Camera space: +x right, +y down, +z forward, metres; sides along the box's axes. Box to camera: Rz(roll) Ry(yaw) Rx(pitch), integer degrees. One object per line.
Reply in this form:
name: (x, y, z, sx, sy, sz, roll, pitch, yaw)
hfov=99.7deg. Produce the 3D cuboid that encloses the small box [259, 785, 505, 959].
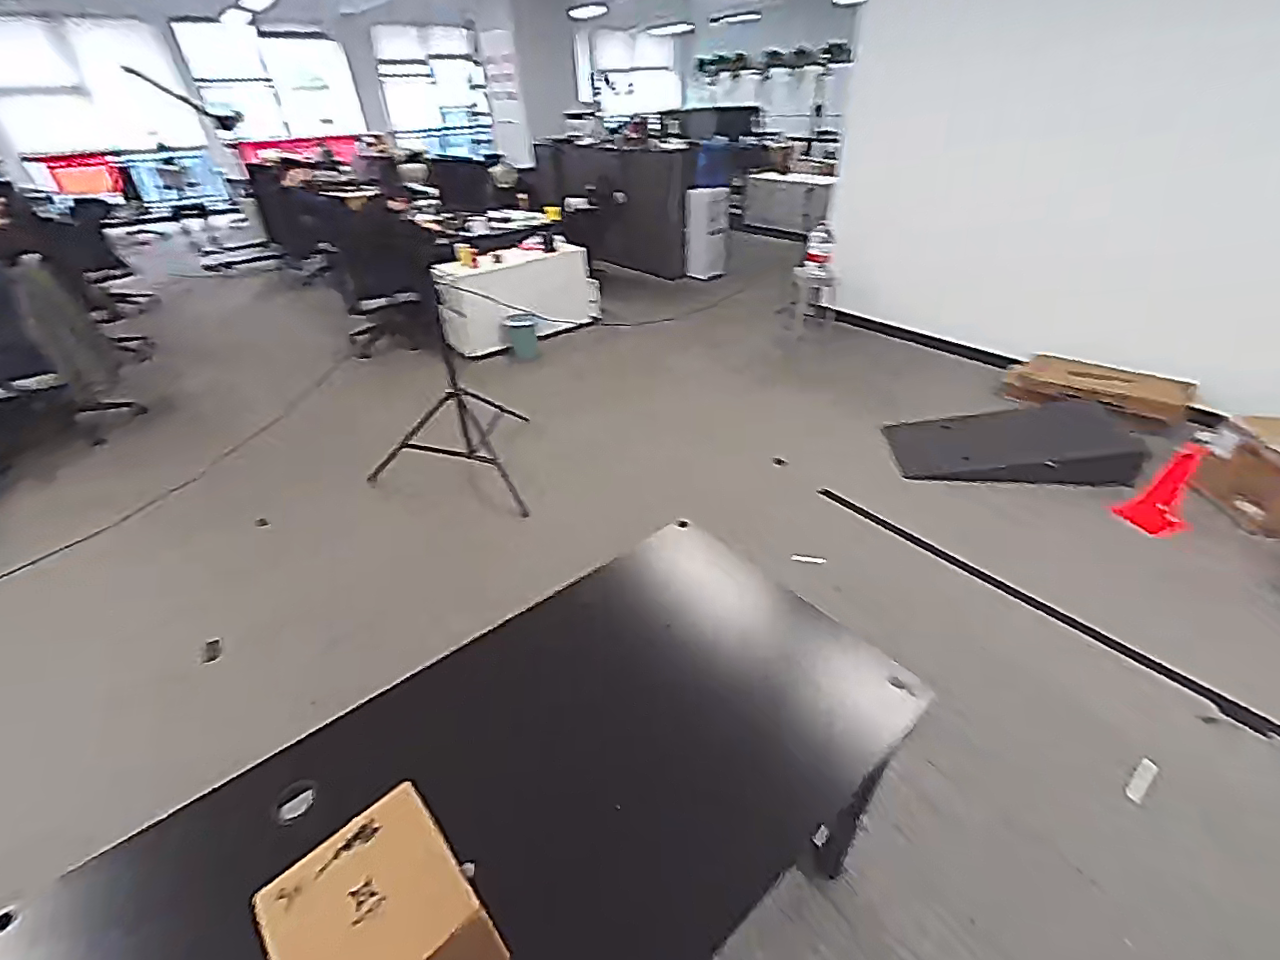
small box: (-0.270, 0.492, 0.592, 0.168, 0.176, 0.179, -31, 44, -33)
